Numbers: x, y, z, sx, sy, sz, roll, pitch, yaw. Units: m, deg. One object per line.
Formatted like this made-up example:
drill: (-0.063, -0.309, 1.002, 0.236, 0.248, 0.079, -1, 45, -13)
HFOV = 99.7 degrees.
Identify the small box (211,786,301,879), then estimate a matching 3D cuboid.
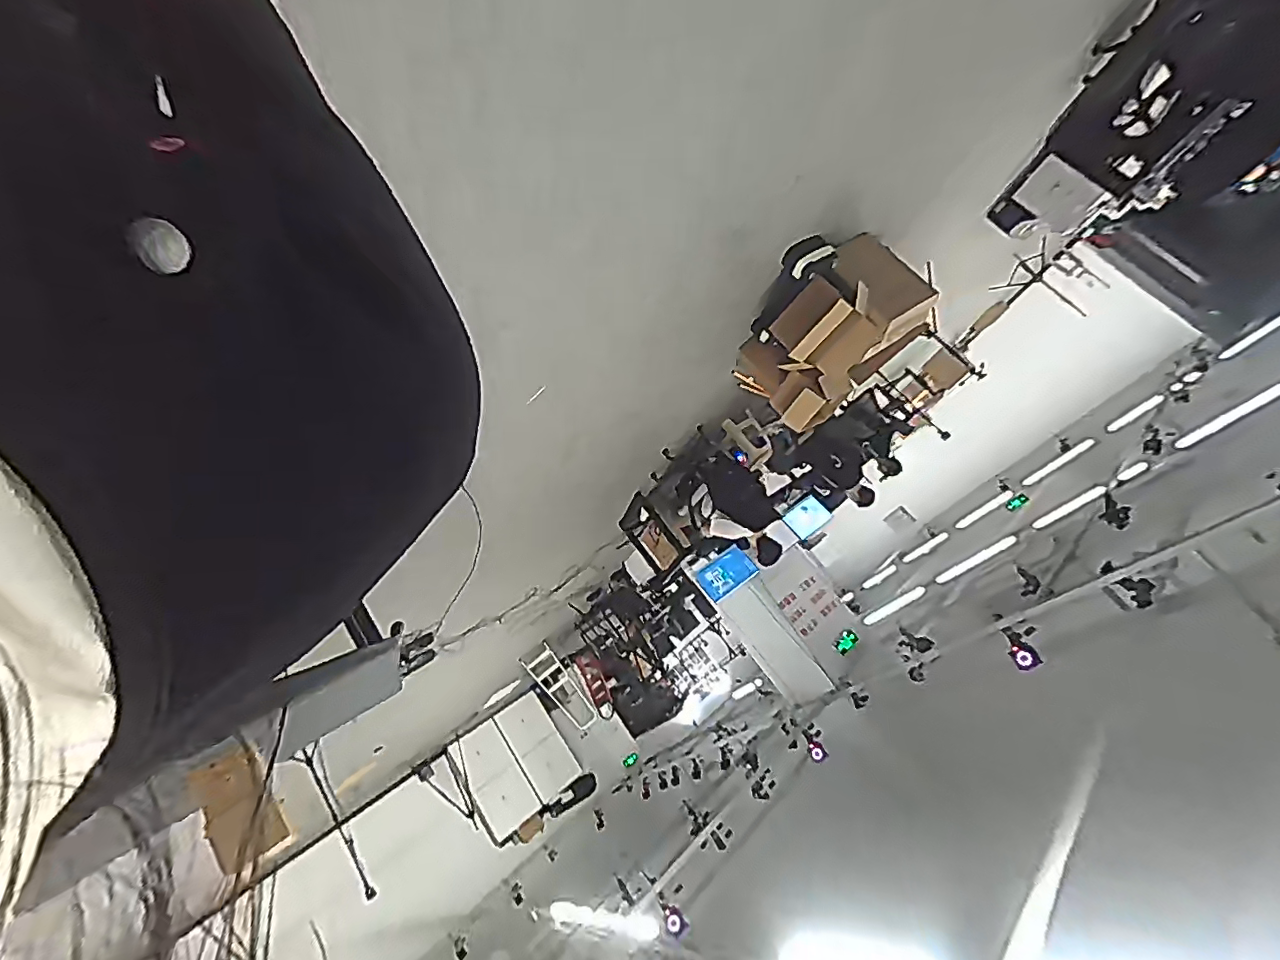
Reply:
small box: (-1.189, 1.087, 1.670, 0.179, 0.176, 0.168, -26, 159, -32)

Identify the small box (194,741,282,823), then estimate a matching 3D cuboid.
small box: (-1.284, 0.966, 1.728, 0.168, 0.176, 0.179, -26, 159, -35)
